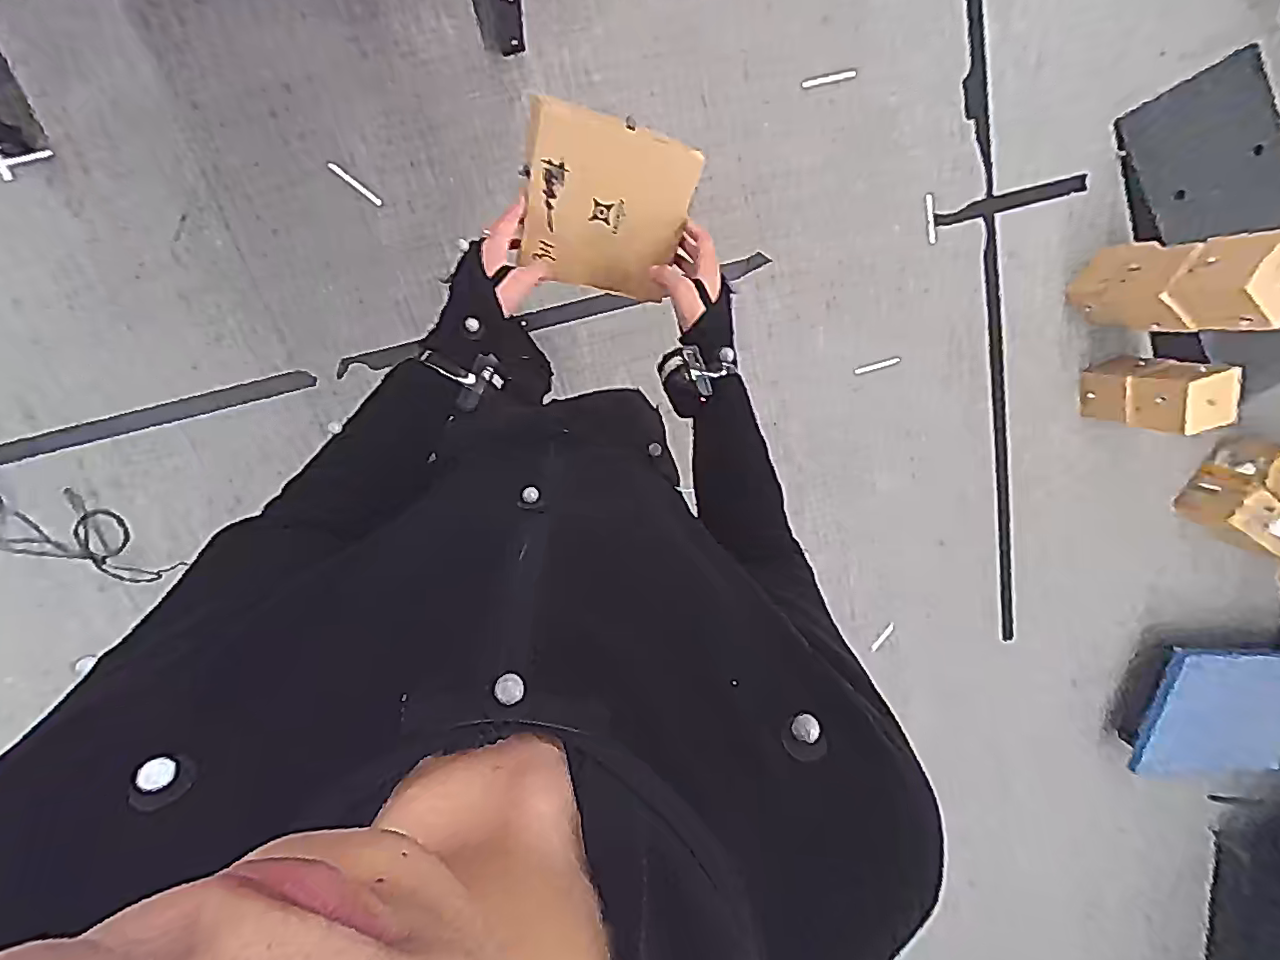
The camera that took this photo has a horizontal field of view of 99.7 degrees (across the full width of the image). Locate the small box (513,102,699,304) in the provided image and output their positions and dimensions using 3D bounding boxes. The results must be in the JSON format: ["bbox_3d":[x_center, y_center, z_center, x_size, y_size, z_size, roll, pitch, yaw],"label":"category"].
[{"bbox_3d":[-0.054,-0.339,0.660,0.179,0.176,0.168,6,126,-19],"label":"small box"}]
